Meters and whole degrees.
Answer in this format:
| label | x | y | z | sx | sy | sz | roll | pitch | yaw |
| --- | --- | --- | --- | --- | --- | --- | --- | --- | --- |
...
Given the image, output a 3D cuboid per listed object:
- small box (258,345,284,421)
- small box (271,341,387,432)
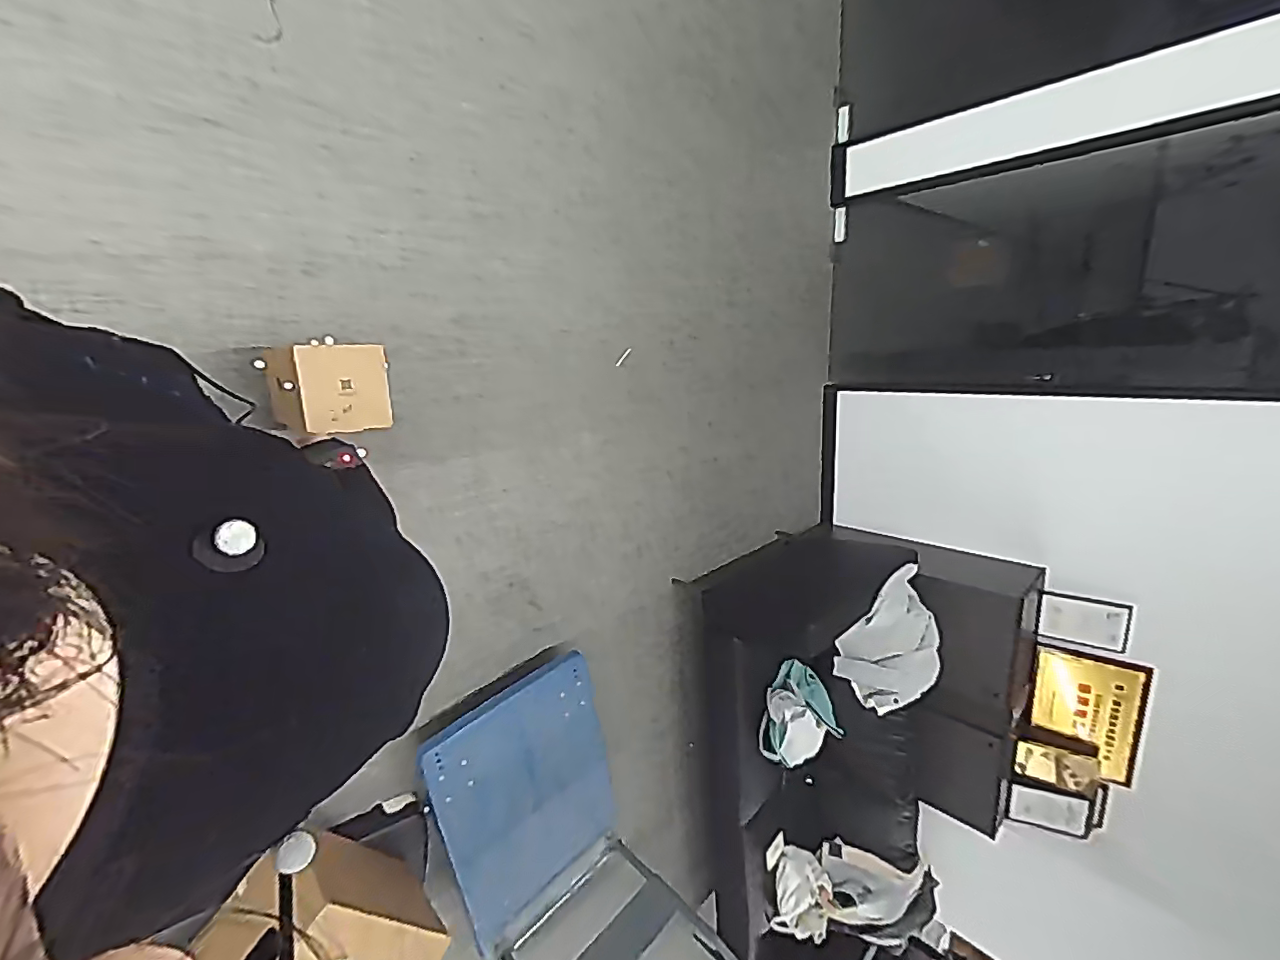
| label | x | y | z | sx | sy | sz | roll | pitch | yaw |
| --- | --- | --- | --- | --- | --- | --- | --- | --- | --- |
| small box | -0.768 | -0.230 | 1.261 | 0.179 | 0.176 | 0.168 | -15 | 109 | -43 |
| small box | -0.657 | -0.201 | 1.142 | 0.168 | 0.176 | 0.179 | -13 | 109 | -42 |
